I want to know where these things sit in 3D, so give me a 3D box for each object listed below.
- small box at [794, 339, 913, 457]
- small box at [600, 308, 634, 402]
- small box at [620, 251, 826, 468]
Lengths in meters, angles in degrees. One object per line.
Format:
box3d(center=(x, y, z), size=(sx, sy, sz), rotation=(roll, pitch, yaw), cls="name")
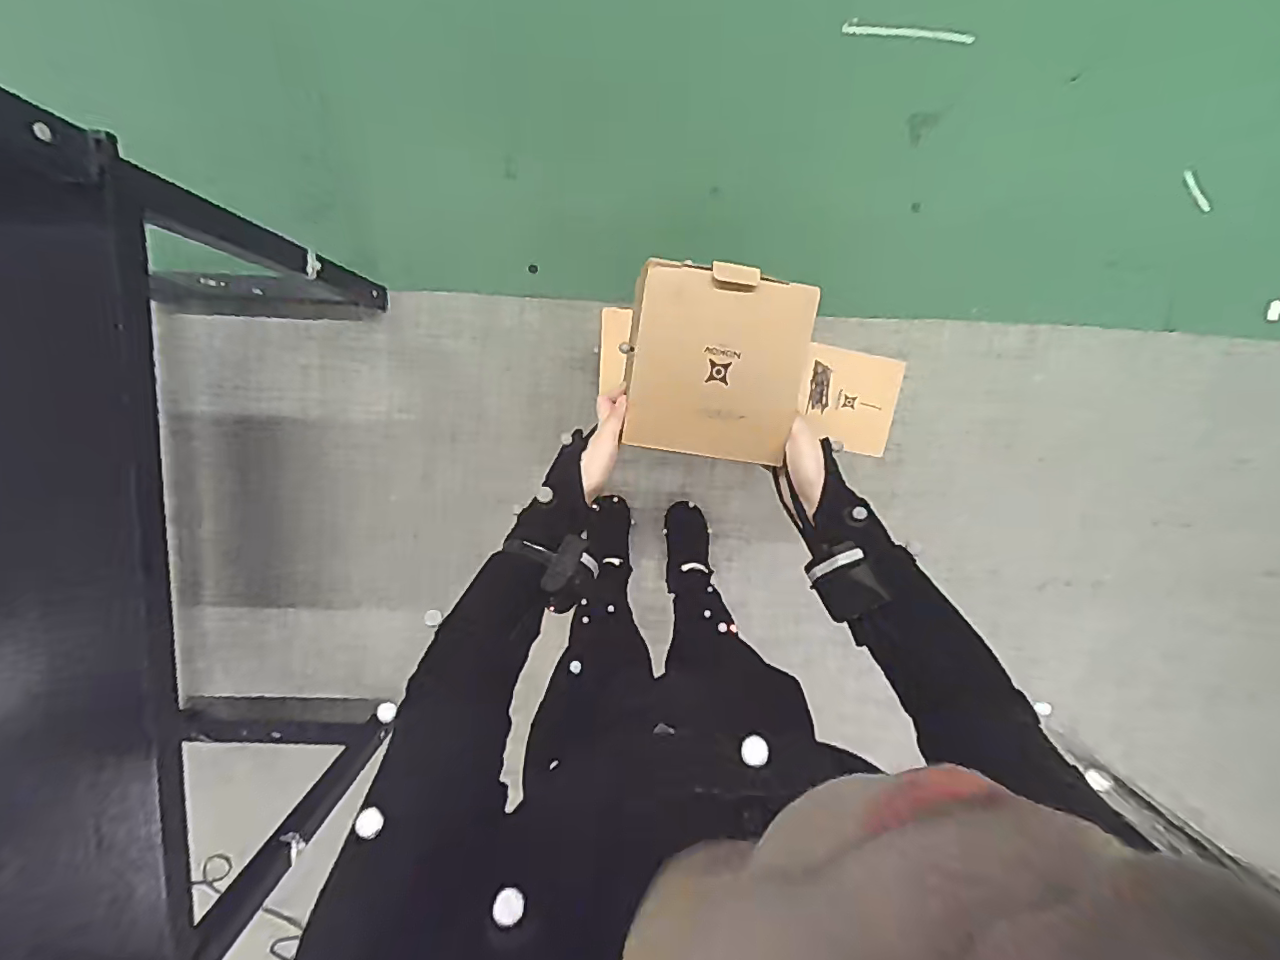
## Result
box3d(center=(0.342, -0.143, 0.962), size=(0.179, 0.176, 0.168), rotation=(11, 98, -2), cls="small box")
box3d(center=(0.009, -0.247, 1.113), size=(0.168, 0.176, 0.179), rotation=(2, 96, 0), cls="small box")
box3d(center=(0.071, -0.124, 0.573), size=(0.168, 0.176, 0.179), rotation=(8, 104, -5), cls="small box")
